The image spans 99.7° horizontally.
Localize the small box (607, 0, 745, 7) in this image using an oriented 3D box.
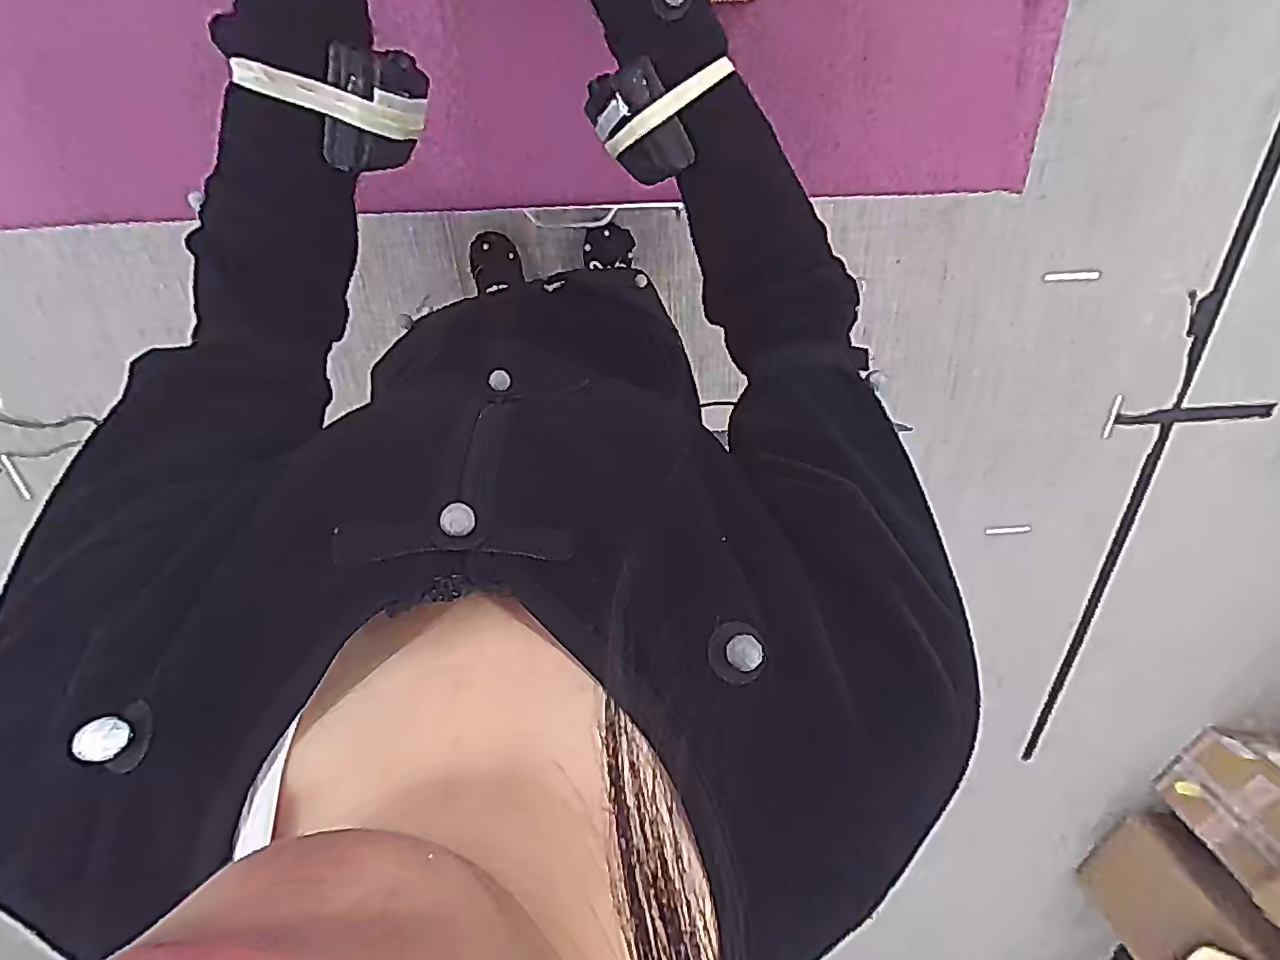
[{"bbox_3d":[0.039,-0.529,0.443,0.168,0.176,0.179,-4,117,-3],"label":"small box"}]
